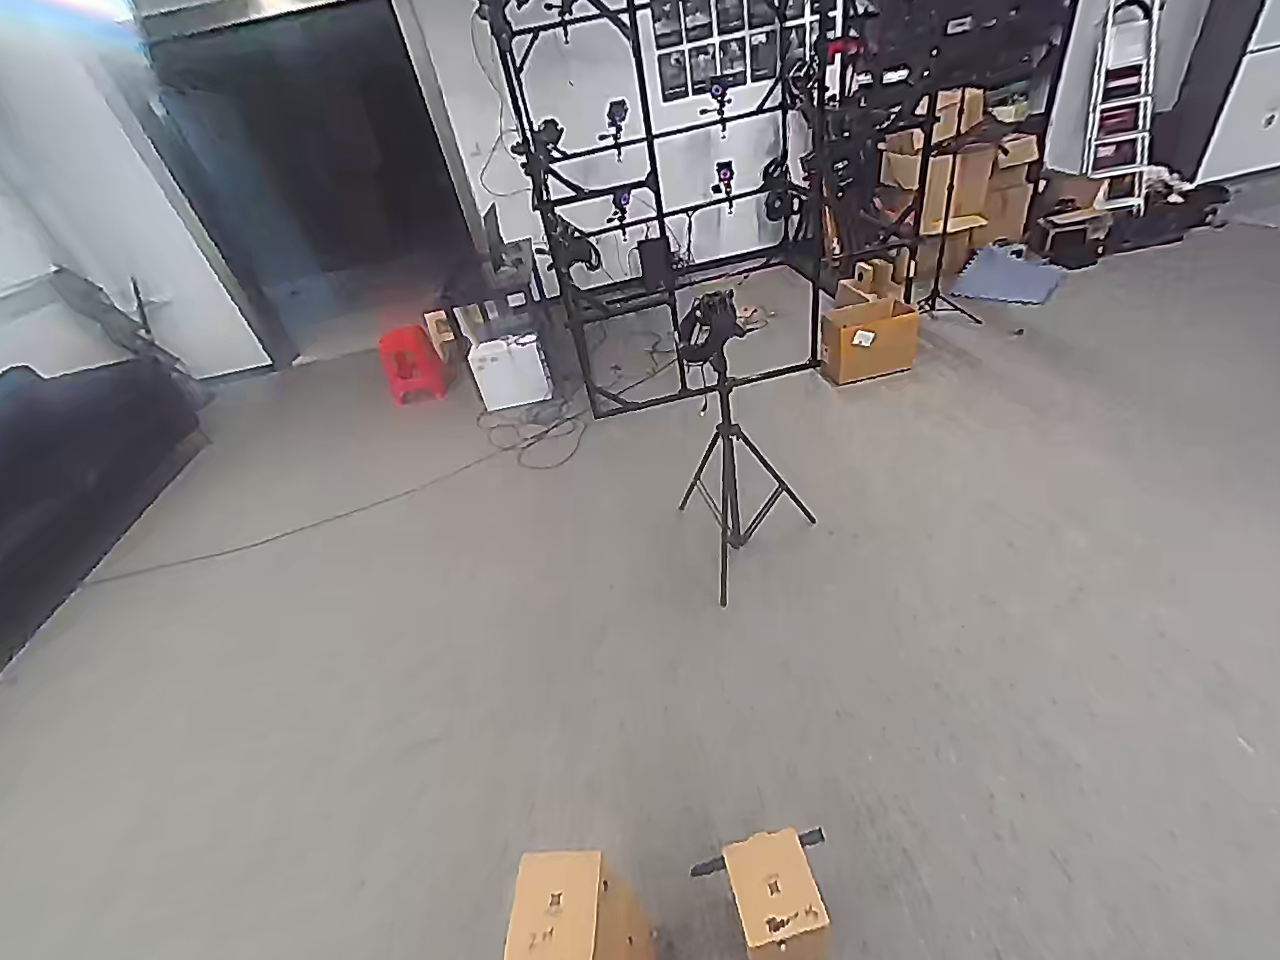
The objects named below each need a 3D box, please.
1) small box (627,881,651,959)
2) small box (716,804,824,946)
[{"bbox_3d":[-0.071,1.035,1.201,0.168,0.176,0.179,-12,37,1],"label":"small box"},{"bbox_3d":[0.263,0.814,1.118,0.168,0.176,0.179,-14,37,-2],"label":"small box"}]
